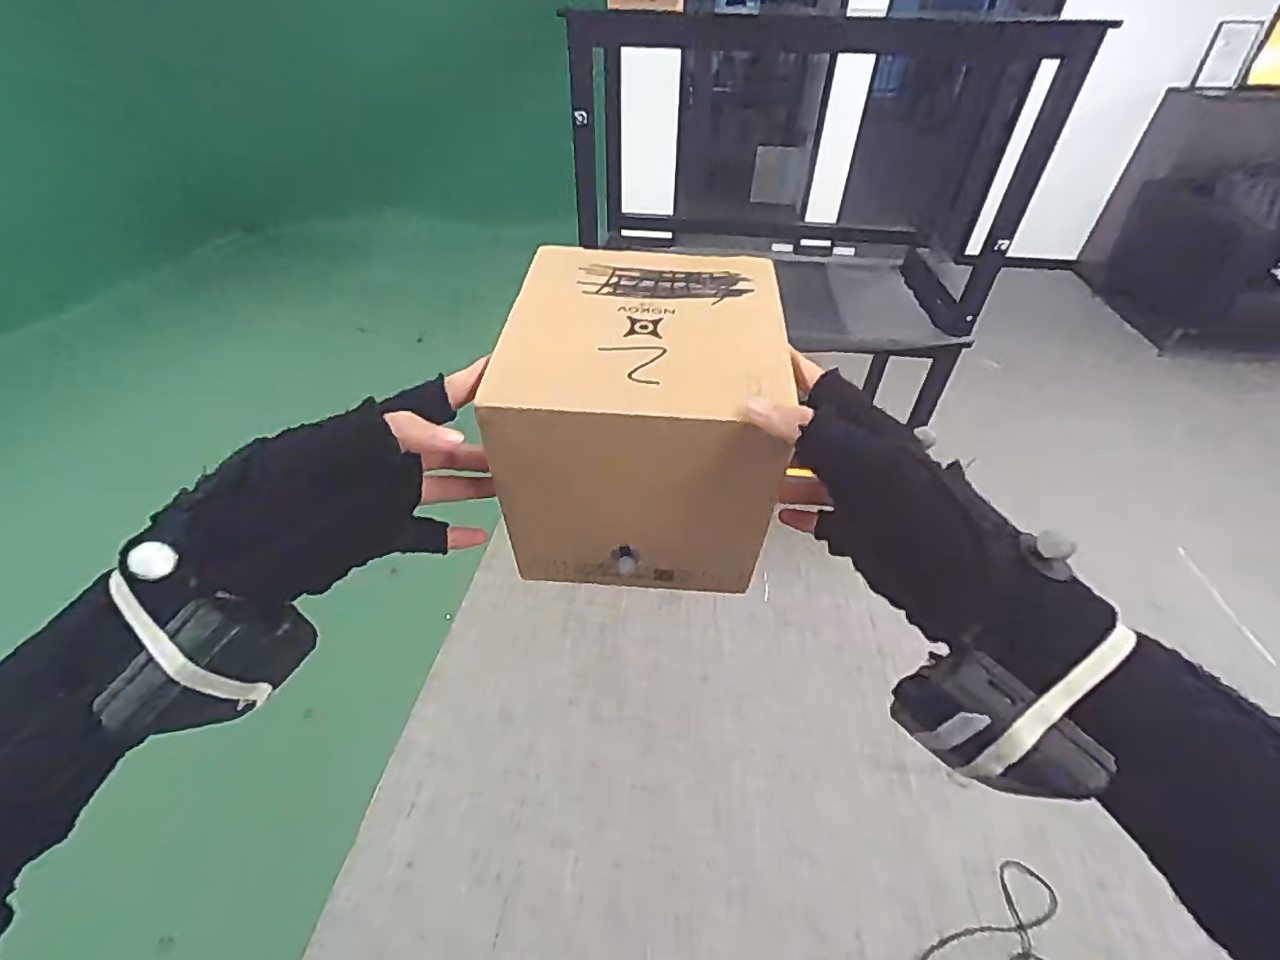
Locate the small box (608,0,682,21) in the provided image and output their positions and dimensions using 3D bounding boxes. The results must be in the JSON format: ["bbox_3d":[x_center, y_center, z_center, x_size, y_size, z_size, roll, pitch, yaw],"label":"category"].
[{"bbox_3d":[0.016,-1.189,1.267,0.168,0.176,0.179,6,42,4],"label":"small box"}]
